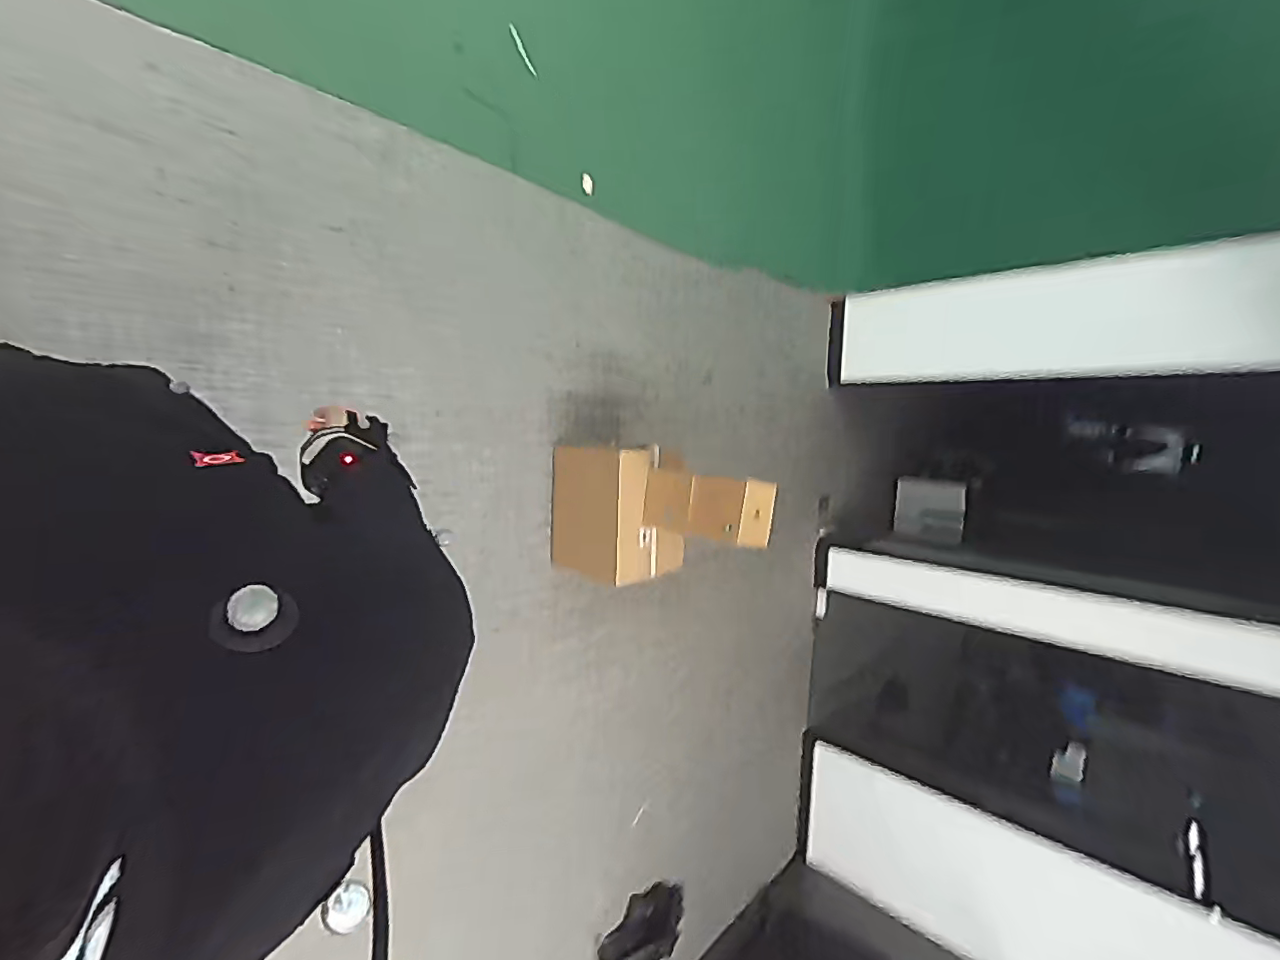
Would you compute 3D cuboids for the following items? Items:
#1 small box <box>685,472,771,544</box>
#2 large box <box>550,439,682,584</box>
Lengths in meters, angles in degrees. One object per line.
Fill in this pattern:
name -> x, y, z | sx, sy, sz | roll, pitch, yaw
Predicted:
small box -> 0.246, 0.078, 1.520 | 0.168, 0.176, 0.179 | 9, 90, -48
large box -> -0.083, 0.080, 1.766 | 0.320, 0.320, 0.408 | -5, 101, -46
